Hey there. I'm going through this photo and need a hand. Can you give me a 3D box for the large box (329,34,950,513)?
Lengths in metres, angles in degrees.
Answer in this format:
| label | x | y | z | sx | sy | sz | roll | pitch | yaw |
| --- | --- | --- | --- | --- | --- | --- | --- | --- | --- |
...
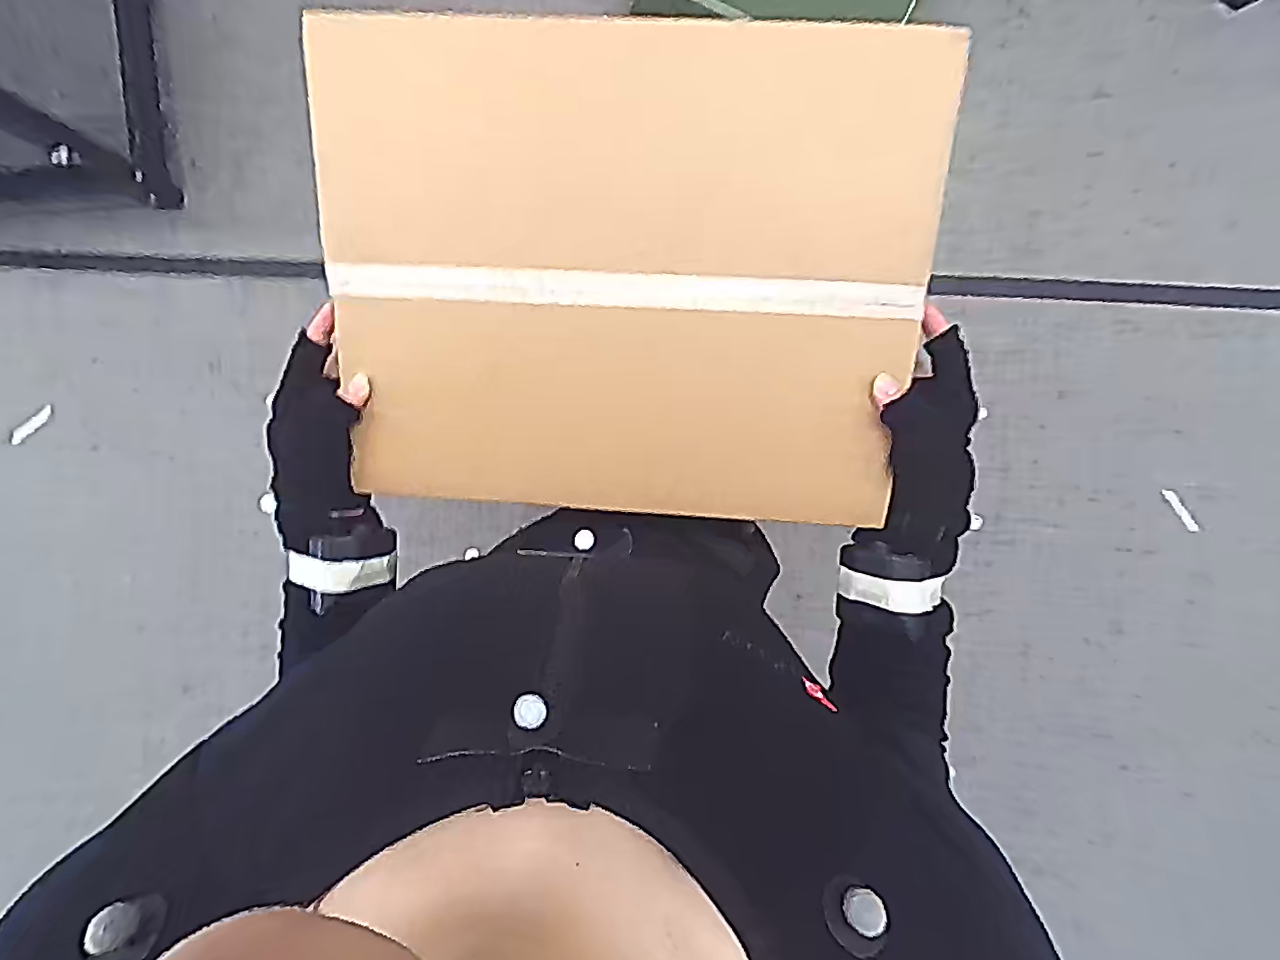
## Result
| label | x | y | z | sx | sy | sz | roll | pitch | yaw |
| --- | --- | --- | --- | --- | --- | --- | --- | --- | --- |
| large box | -0.004 | -0.169 | 0.523 | 0.408 | 0.320 | 0.320 | 4 | 106 | 3 |
